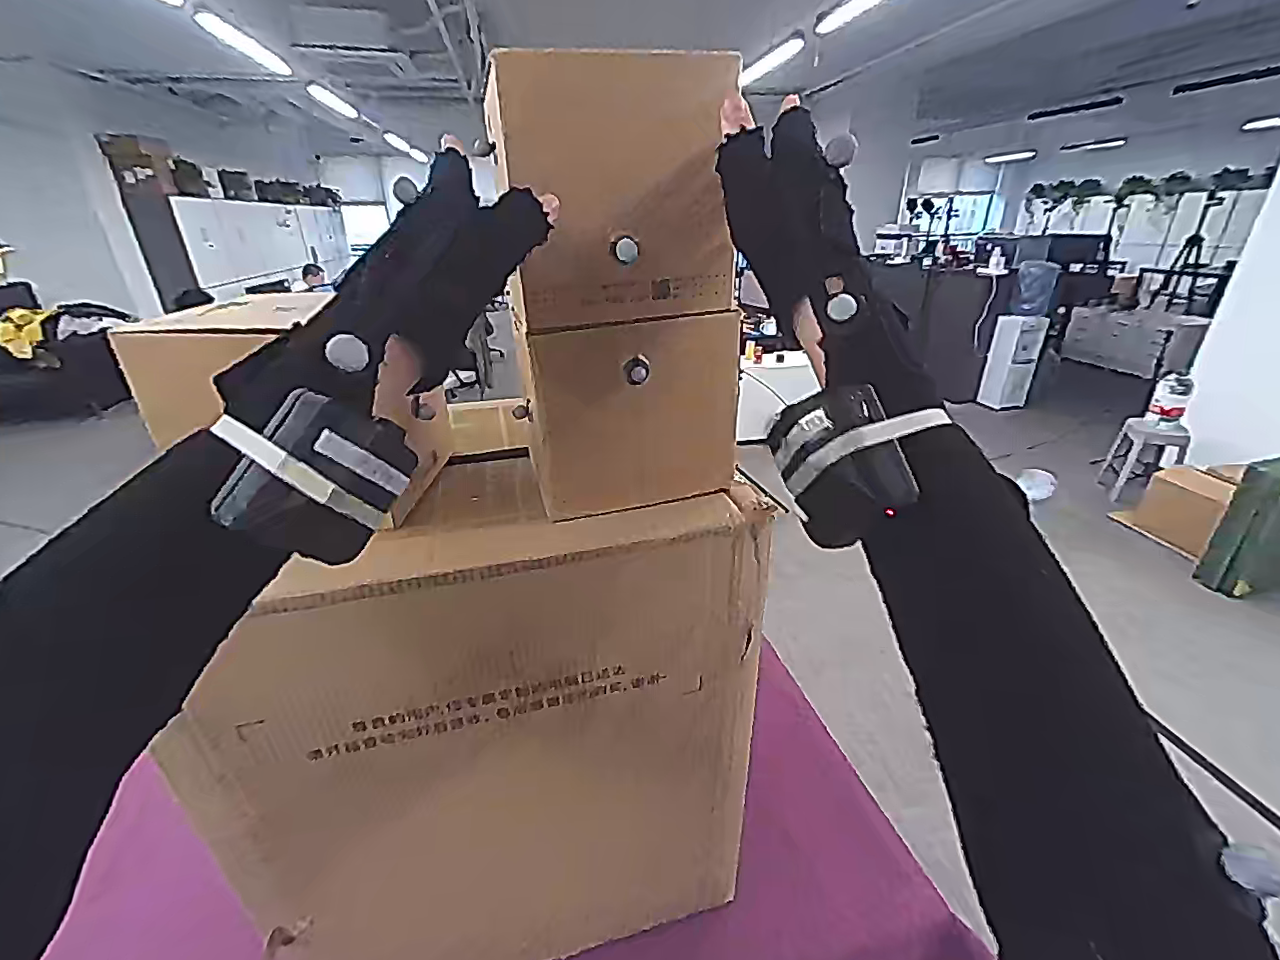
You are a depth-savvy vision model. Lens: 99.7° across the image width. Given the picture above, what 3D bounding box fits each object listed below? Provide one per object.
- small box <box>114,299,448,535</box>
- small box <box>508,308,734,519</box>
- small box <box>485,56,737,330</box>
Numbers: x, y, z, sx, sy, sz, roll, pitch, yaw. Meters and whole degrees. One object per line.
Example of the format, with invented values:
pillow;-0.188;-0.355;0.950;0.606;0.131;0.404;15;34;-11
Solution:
small box;-0.290;-0.061;0.491;0.179;0.176;0.168;1;27;-1
small box;-0.022;-0.077;0.522;0.179;0.176;0.168;-9;27;-14
small box;-0.032;-0.225;0.449;0.168;0.176;0.179;-10;27;-13
